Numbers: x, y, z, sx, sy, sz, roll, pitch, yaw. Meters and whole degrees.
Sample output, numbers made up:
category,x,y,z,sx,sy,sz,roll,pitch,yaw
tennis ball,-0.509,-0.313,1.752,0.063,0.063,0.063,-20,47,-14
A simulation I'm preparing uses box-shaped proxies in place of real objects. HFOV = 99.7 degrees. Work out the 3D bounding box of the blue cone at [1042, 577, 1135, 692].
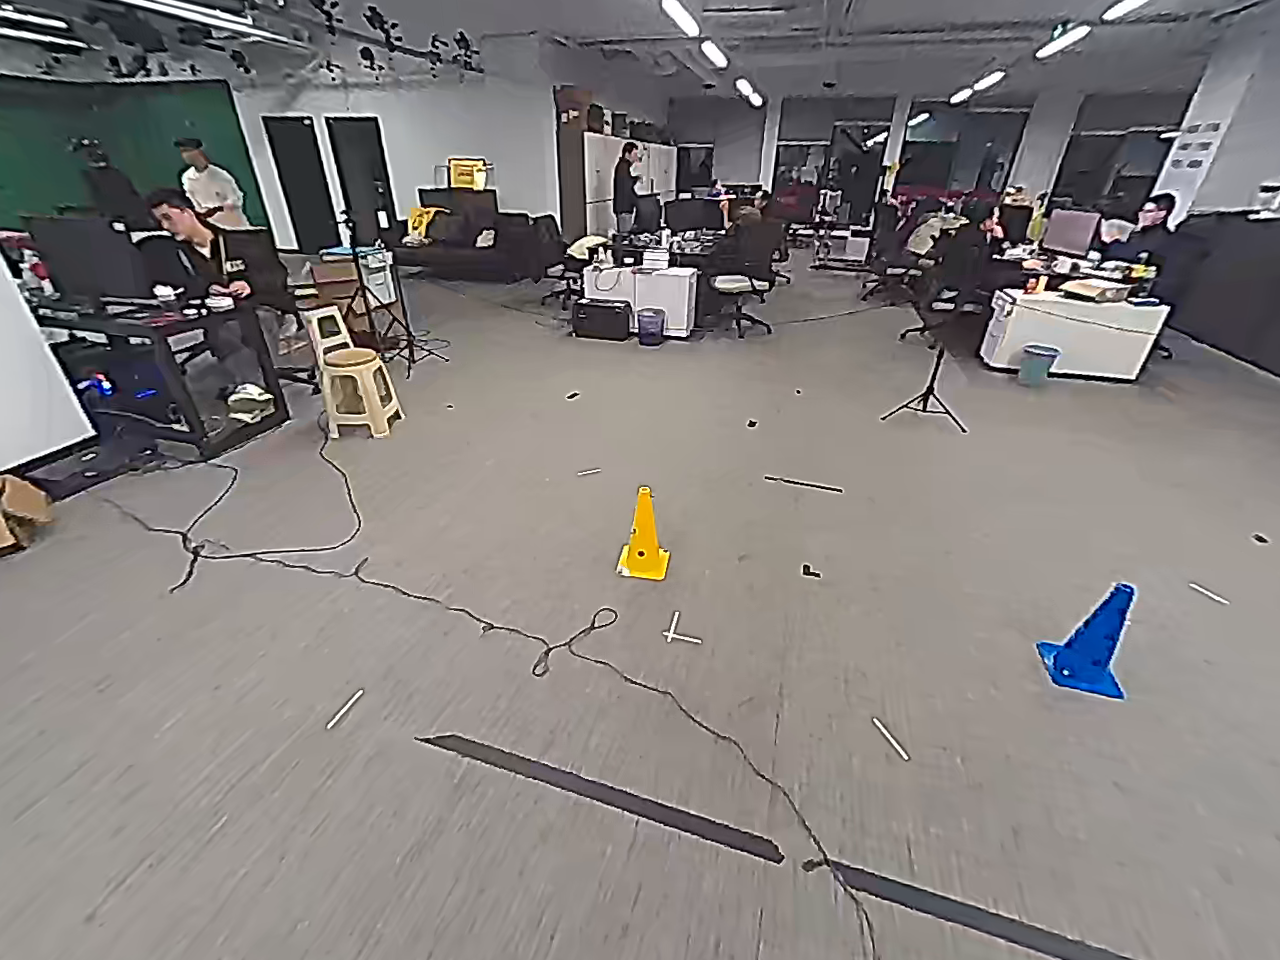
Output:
category,x,y,z,sx,sy,sz,roll,pitch,yaw
blue cone,1.470,0.473,1.715,0.193,0.380,0.192,10,30,15
